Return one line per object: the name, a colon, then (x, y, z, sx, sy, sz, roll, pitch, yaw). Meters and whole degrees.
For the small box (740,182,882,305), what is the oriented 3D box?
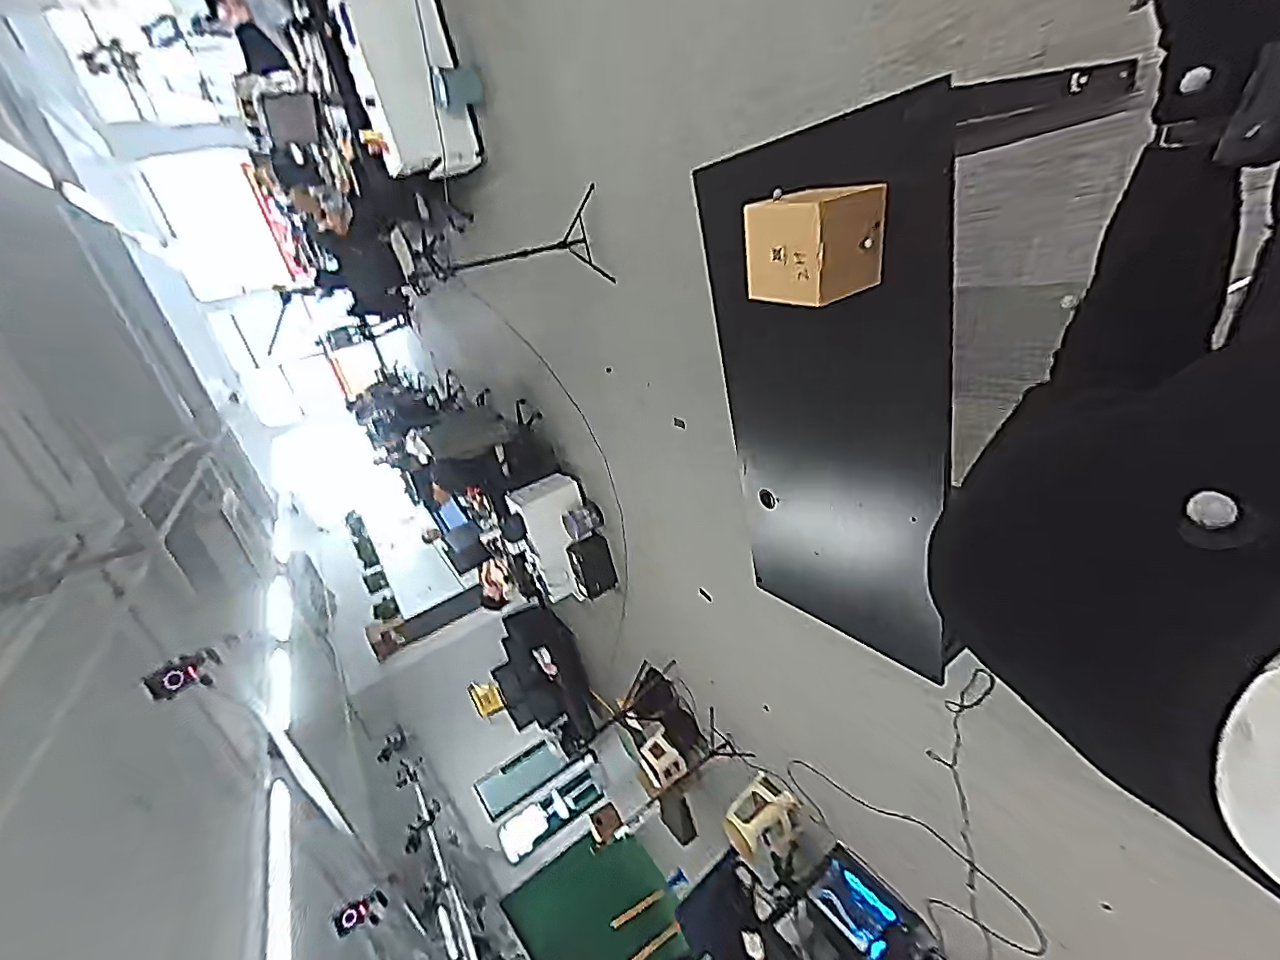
small box: (0.304, -0.430, 0.977, 0.179, 0.176, 0.168, 32, 141, 49)
